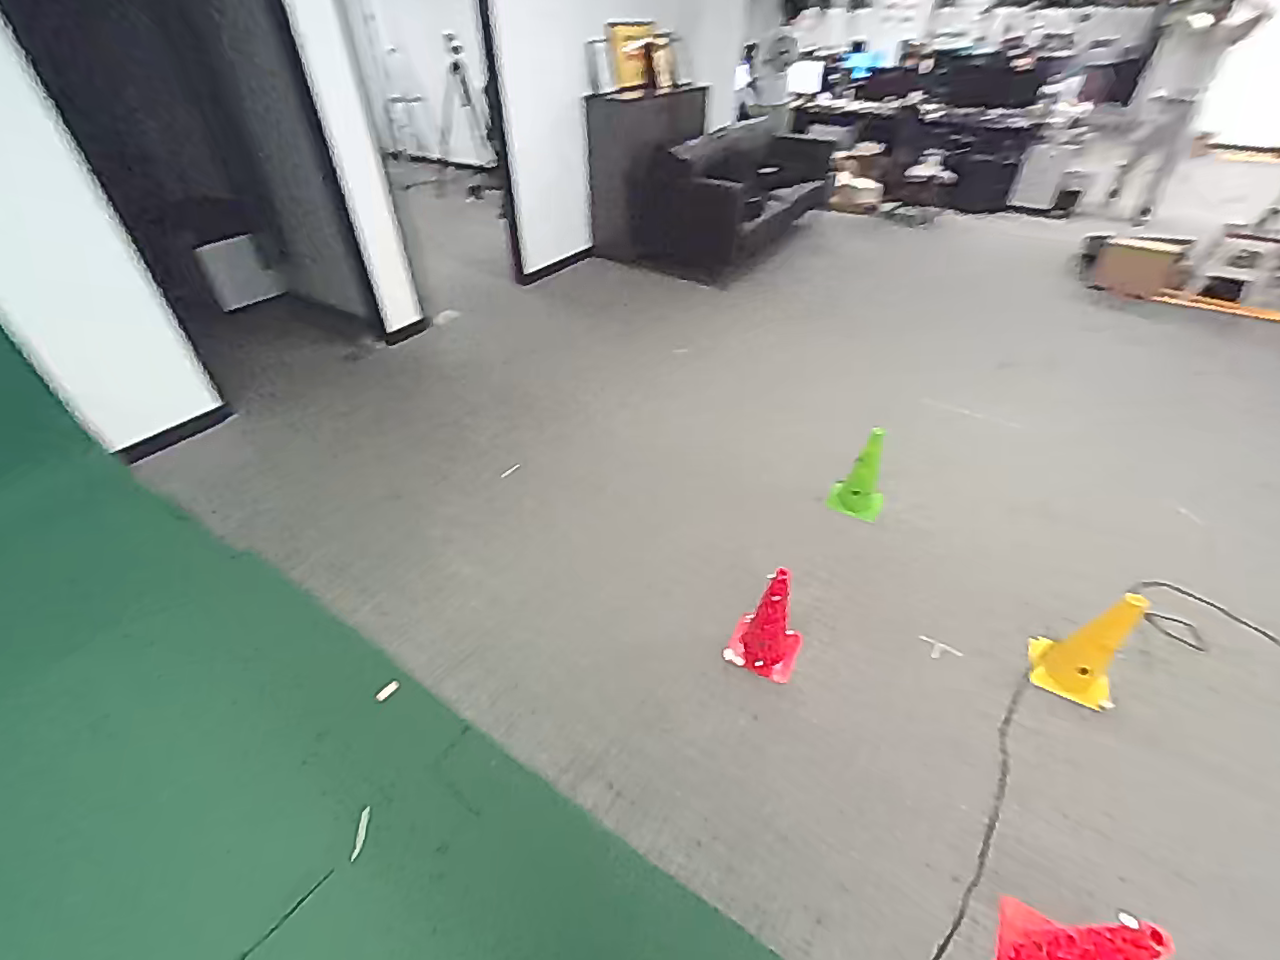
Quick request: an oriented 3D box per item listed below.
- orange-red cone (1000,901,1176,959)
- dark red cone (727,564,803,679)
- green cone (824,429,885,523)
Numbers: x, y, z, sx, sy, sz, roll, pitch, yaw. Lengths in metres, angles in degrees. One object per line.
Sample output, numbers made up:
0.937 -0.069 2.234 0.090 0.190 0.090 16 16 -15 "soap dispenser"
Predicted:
0.856 0.888 1.002 0.198 0.360 0.199 24 44 25 "orange-red cone"
0.392 0.383 1.574 0.202 0.394 0.201 18 44 21 "dark red cone"
0.881 -0.041 2.120 0.202 0.368 0.200 22 45 23 "green cone"
